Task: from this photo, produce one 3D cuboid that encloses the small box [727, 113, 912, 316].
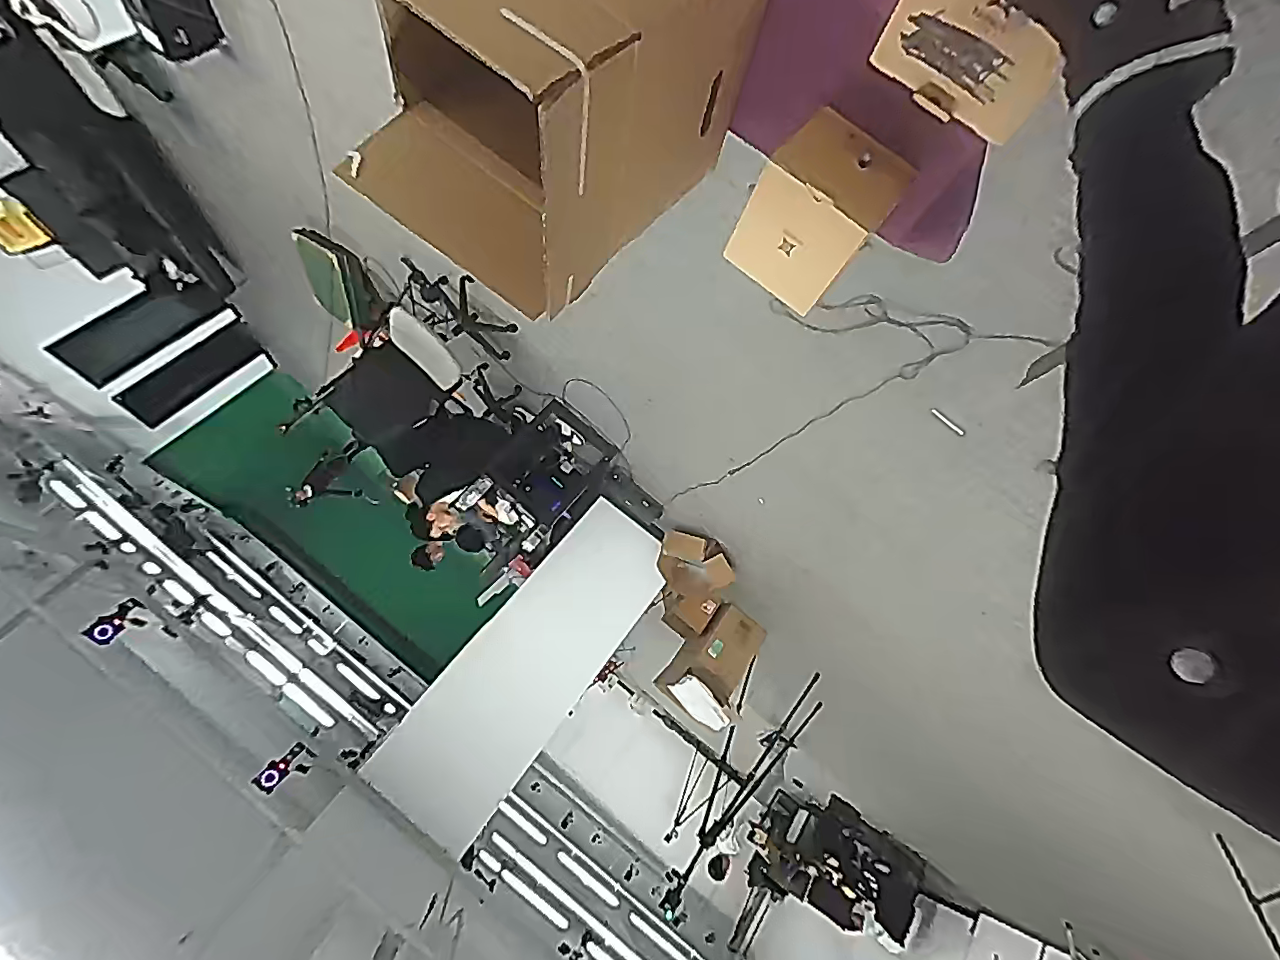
[{"bbox_3d":[0.264,-0.391,0.806,0.168,0.176,0.179,39,155,4],"label":"small box"}]
